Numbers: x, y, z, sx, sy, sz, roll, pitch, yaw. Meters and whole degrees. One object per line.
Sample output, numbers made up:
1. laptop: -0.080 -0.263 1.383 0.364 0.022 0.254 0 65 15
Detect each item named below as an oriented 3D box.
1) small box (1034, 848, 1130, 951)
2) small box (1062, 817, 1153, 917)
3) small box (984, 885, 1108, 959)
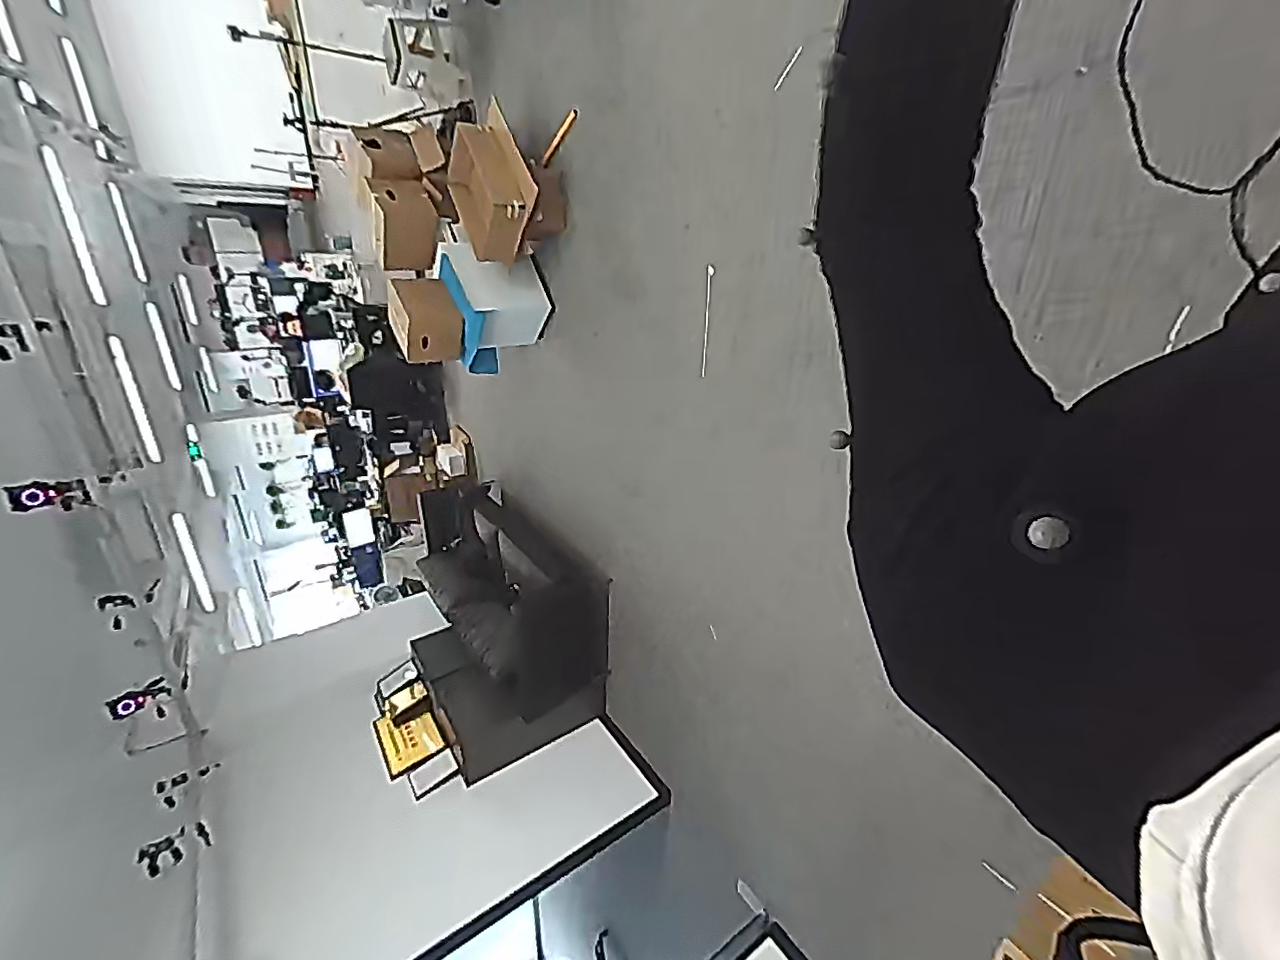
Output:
1. small box: 1.123 1.112 1.399 0.168 0.176 0.179 30 127 48
2. small box: 1.257 1.078 1.483 0.168 0.176 0.179 34 130 47
3. small box: 0.988 1.152 1.315 0.179 0.176 0.168 31 127 47
